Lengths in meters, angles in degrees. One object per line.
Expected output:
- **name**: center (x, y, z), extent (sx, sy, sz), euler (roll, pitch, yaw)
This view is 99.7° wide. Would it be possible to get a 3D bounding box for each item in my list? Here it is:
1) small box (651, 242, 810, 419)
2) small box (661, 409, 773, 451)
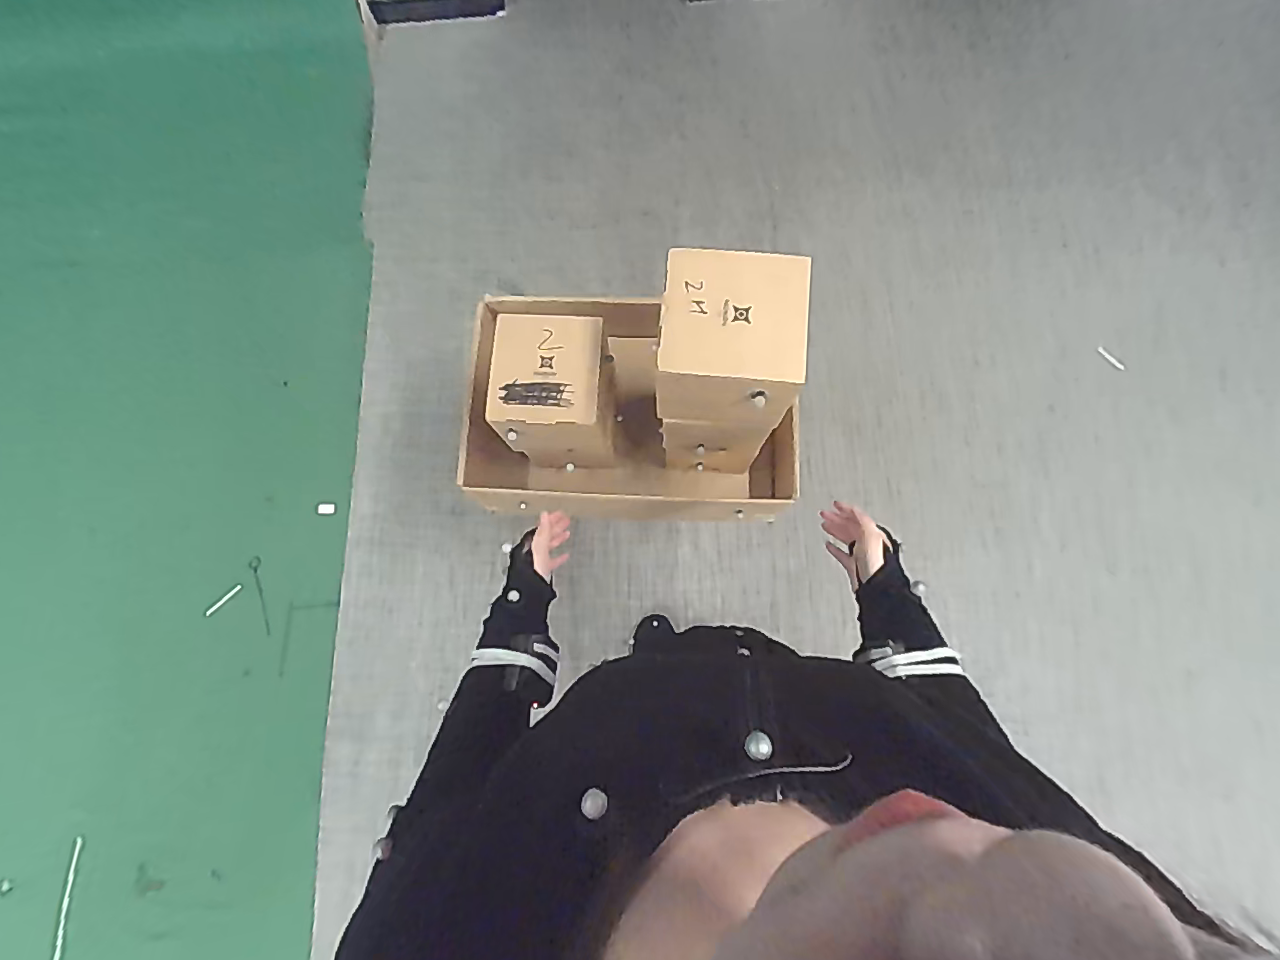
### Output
- **small box**: center (0.114, -0.187, 0.717), extent (0.179, 0.176, 0.168), euler (6, 78, 6)
- **small box**: center (0.122, -0.157, 0.879), extent (0.168, 0.176, 0.179), euler (4, 79, 4)
